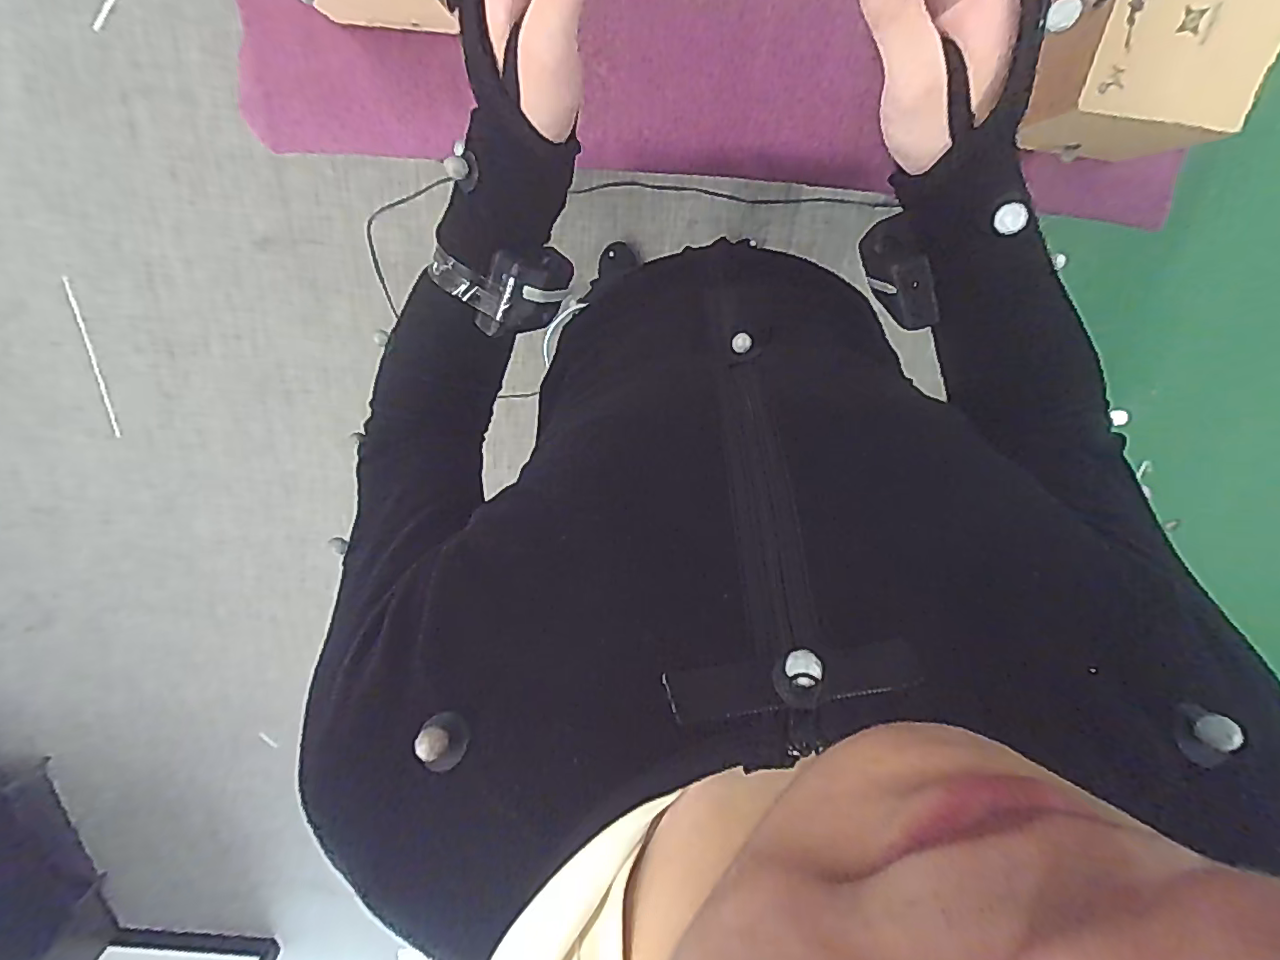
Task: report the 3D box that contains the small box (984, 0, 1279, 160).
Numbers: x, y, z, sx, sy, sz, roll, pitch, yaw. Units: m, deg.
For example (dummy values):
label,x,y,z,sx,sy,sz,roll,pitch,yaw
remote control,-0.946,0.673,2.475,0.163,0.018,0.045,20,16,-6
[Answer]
label,x,y,z,sx,sy,sz,roll,pitch,yaw
small box,0.538,-0.470,0.602,0.179,0.176,0.168,8,112,-1
